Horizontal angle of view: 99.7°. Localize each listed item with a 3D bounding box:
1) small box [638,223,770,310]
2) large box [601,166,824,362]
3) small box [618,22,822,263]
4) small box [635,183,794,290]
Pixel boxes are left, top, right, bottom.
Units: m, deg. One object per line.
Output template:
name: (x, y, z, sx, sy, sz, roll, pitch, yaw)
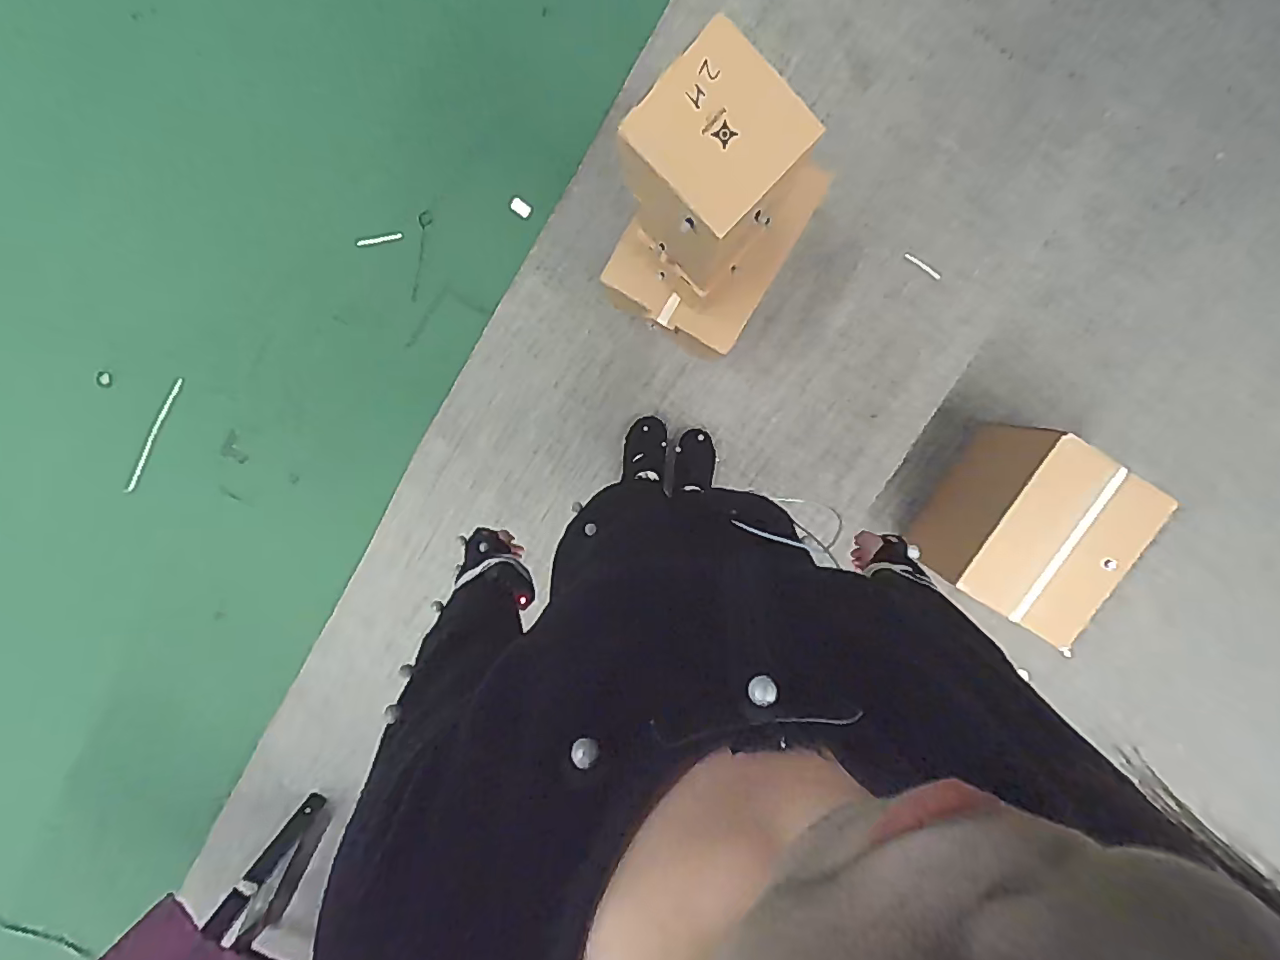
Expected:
small box: (0.110, -0.447, 1.016, 0.168, 0.176, 0.179, 41, 98, -5)
large box: (0.146, -0.529, 1.247, 0.320, 0.320, 0.408, 30, 98, -4)
small box: (0.094, -0.405, 0.692, 0.168, 0.176, 0.179, -44, 95, 7)
small box: (0.108, -0.431, 0.854, 0.168, 0.176, 0.179, 44, 99, -5)
